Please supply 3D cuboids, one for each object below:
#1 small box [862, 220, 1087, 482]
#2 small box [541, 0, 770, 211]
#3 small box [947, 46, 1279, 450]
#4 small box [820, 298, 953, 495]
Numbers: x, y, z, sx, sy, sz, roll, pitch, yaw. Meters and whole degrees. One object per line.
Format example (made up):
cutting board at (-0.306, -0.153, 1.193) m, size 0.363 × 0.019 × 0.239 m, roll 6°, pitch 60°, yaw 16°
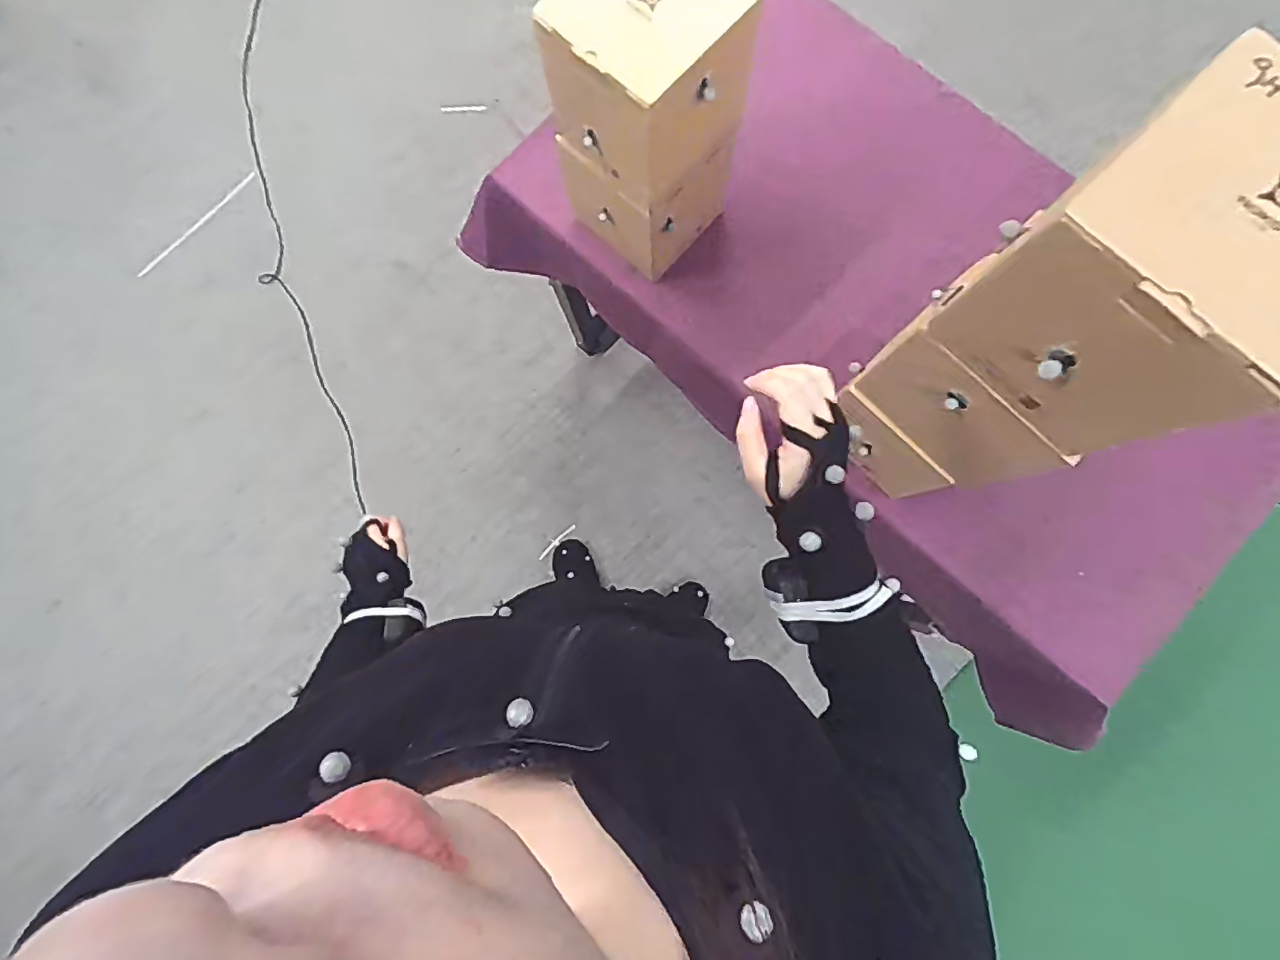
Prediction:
small box at (0.369, -0.115, 0.562) m, size 0.168 × 0.176 × 0.179 m, roll -43°, pitch 84°, yaw -3°
small box at (0.016, -0.461, 0.619) m, size 0.168 × 0.176 × 0.179 m, roll 43°, pitch 86°, yaw 7°
small box at (0.368, -0.143, 0.400) m, size 0.179 × 0.176 × 0.168 m, roll -43°, pitch 84°, yaw -3°
small box at (0.367, -0.097, 0.726) m, size 0.179 × 0.176 × 0.168 m, roll -44°, pitch 84°, yaw -4°
